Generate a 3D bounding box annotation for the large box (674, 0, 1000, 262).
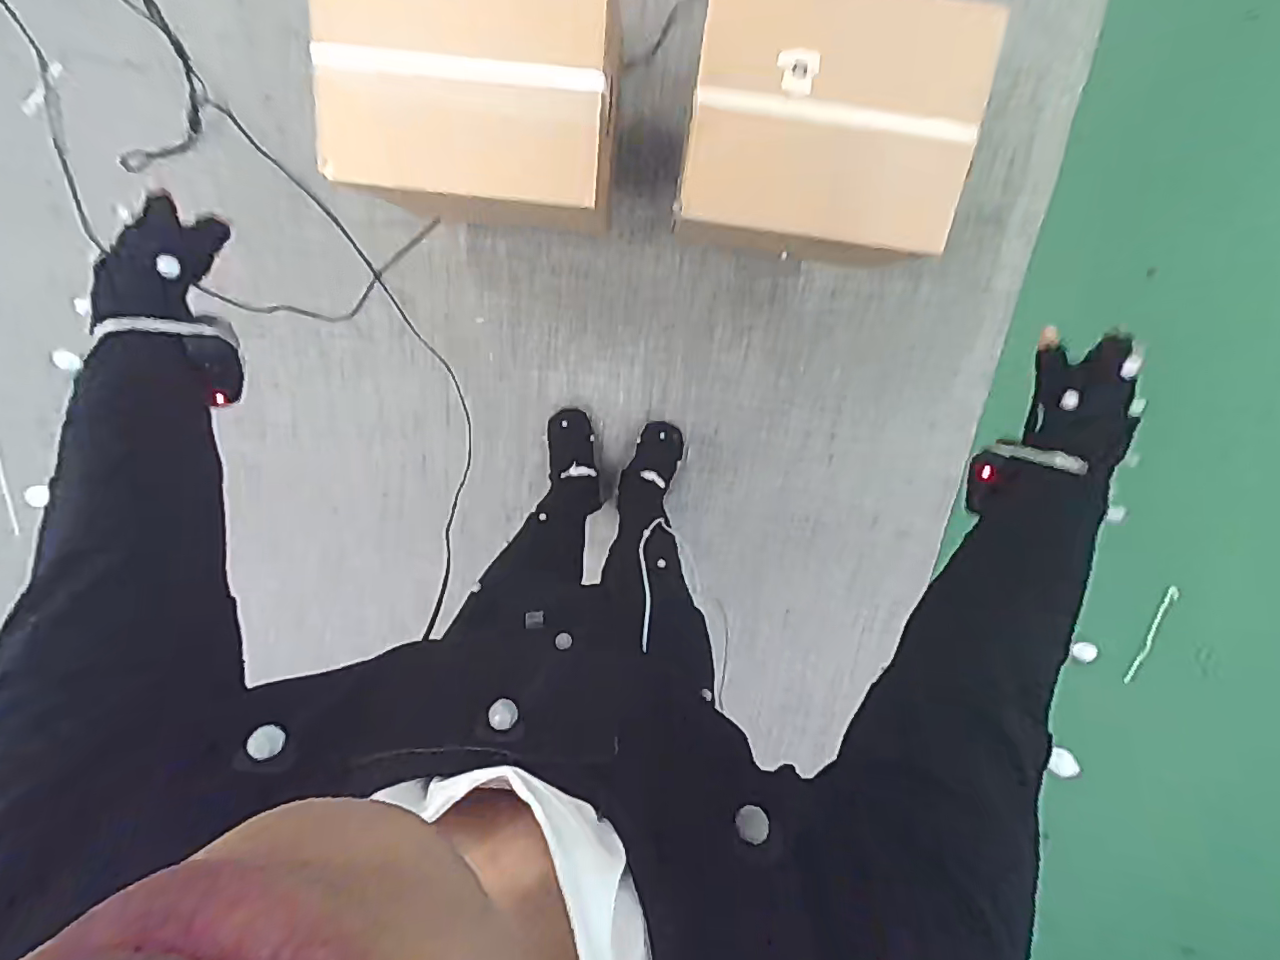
[{"bbox_3d":[0.281,-0.563,0.918,0.408,0.320,0.320,8,108,-1],"label":"large box"}]
